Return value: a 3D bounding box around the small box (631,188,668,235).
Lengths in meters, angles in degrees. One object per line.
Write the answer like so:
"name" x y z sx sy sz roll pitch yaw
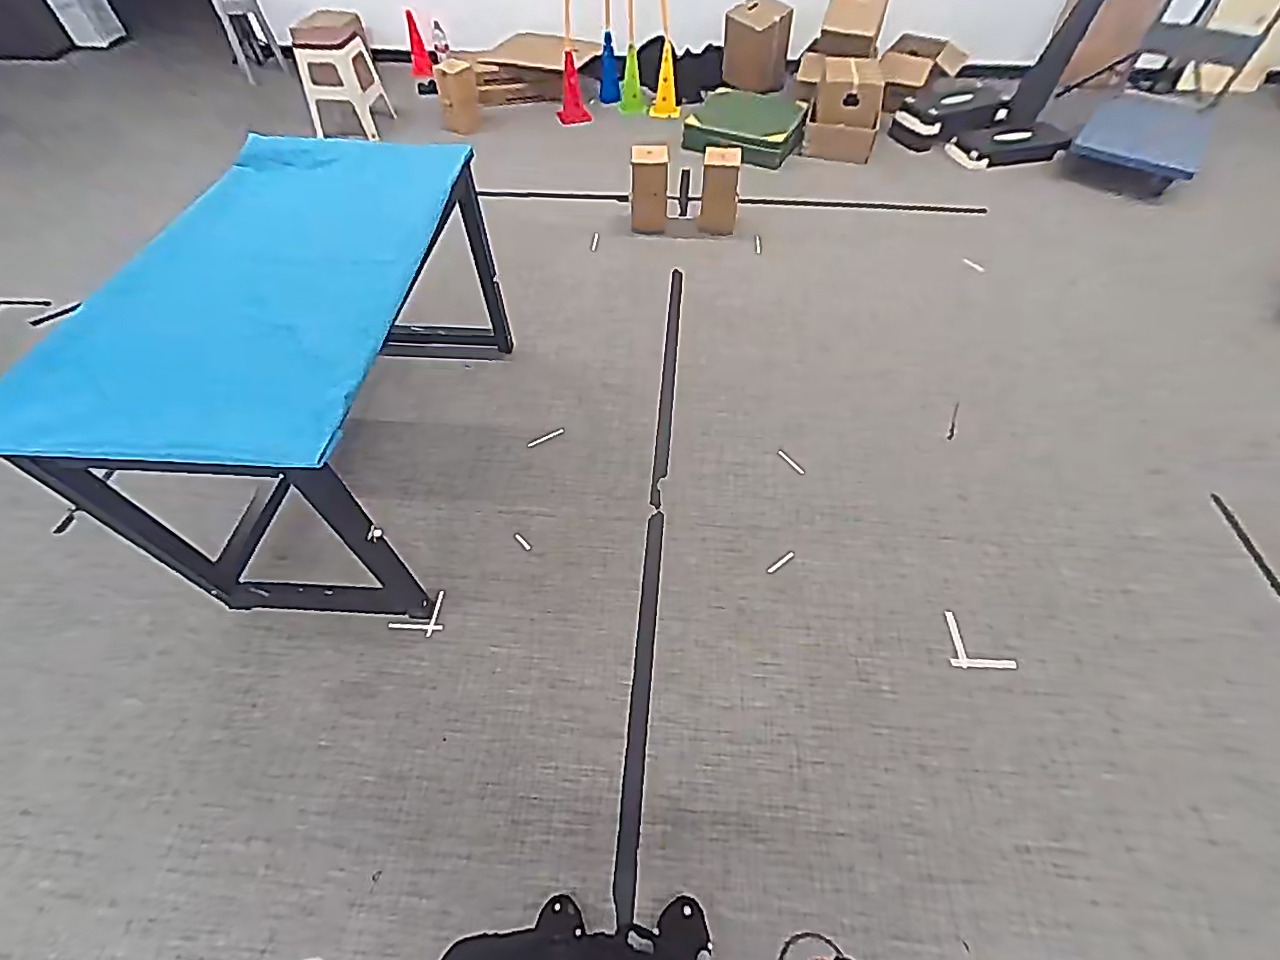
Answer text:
"small box" 0.047 -1.347 2.706 0.179 0.176 0.168 2 54 0

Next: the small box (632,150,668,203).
"small box" 0.048 -1.448 2.576 0.168 0.176 0.179 0 54 1

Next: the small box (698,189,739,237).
"small box" 0.391 -1.343 2.707 0.179 0.176 0.168 8 54 3

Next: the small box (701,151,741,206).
"small box" 0.383 -1.436 2.573 0.168 0.176 0.179 6 55 5
